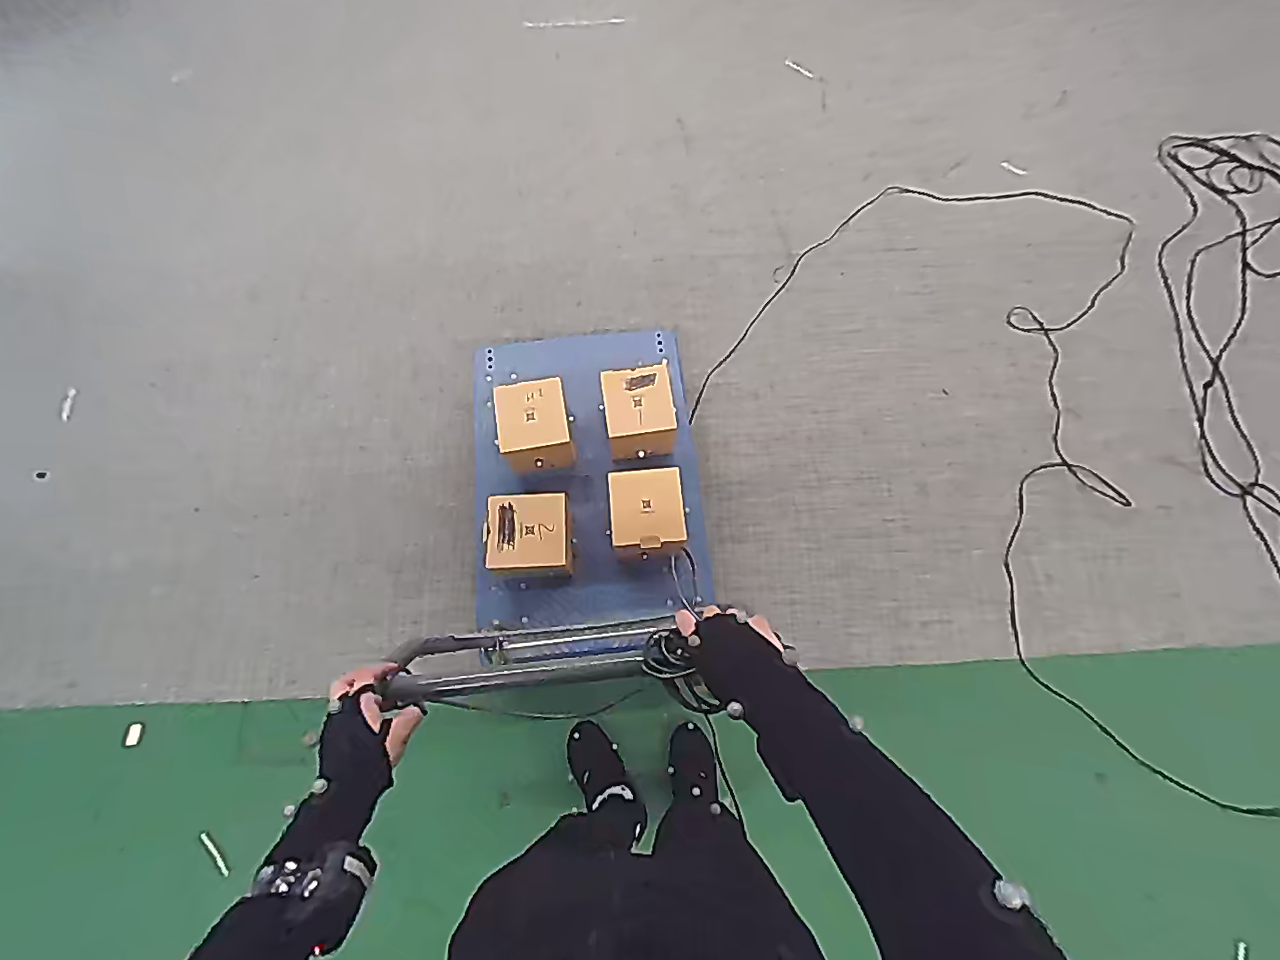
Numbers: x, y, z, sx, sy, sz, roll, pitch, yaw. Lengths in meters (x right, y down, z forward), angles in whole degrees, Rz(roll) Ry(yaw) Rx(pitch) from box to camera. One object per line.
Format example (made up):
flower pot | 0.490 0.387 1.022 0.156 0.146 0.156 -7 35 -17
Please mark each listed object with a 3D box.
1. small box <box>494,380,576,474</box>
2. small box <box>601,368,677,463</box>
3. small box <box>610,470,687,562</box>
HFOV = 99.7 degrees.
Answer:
small box | -0.259 -0.124 1.357 0.168 0.176 0.179 -9 72 -4
small box | -0.004 -0.160 1.368 0.168 0.176 0.179 -8 73 -2
small box | 0.015 0.089 1.288 0.168 0.176 0.179 -5 72 -2
